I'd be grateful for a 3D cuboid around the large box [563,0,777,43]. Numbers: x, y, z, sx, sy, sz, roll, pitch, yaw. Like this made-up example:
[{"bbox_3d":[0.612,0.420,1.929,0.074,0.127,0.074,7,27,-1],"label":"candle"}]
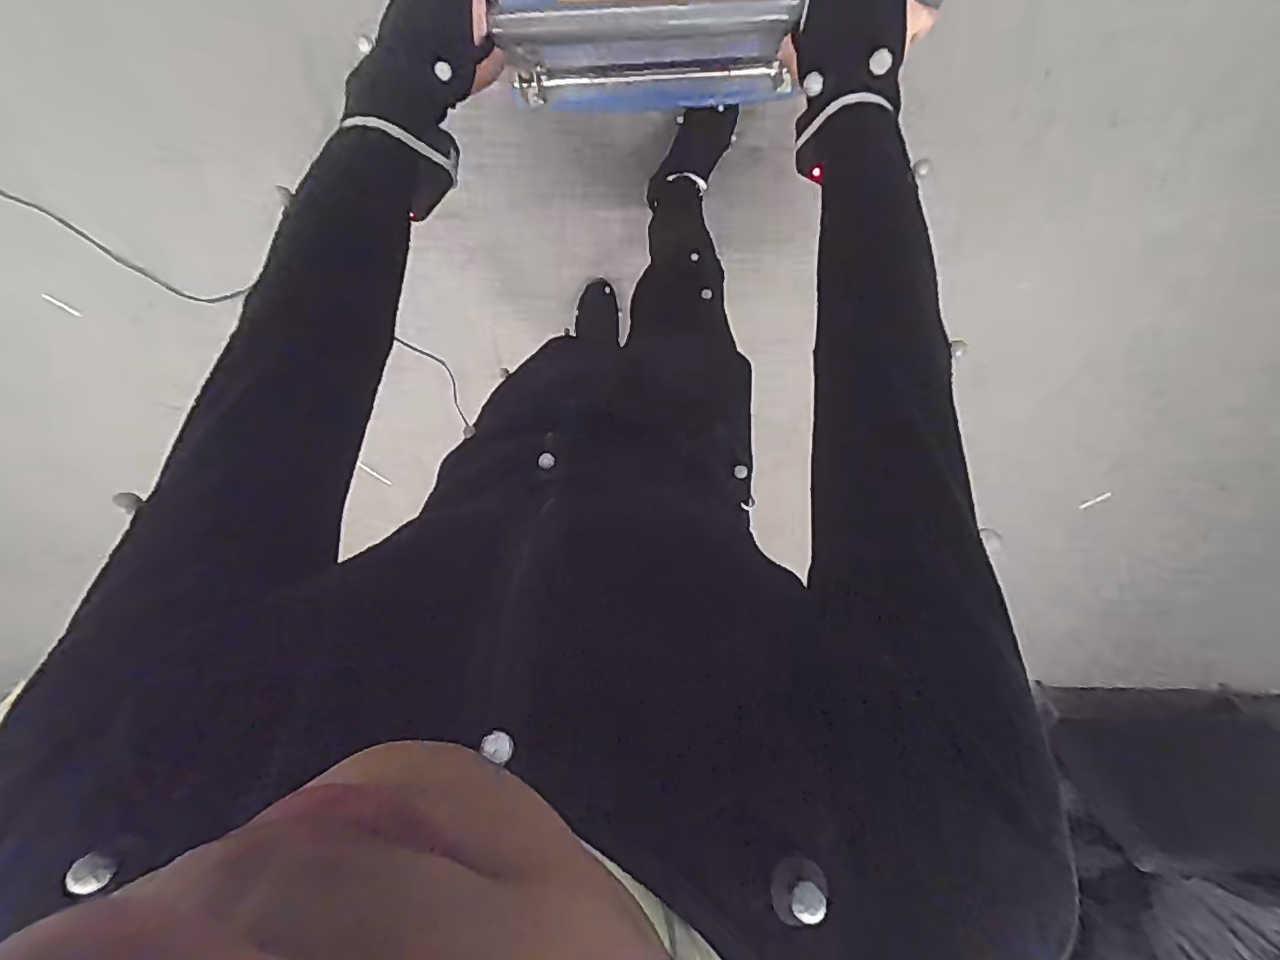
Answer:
[{"bbox_3d":[0.040,-0.907,0.773,0.320,0.320,0.408,-2,124,3],"label":"large box"}]
